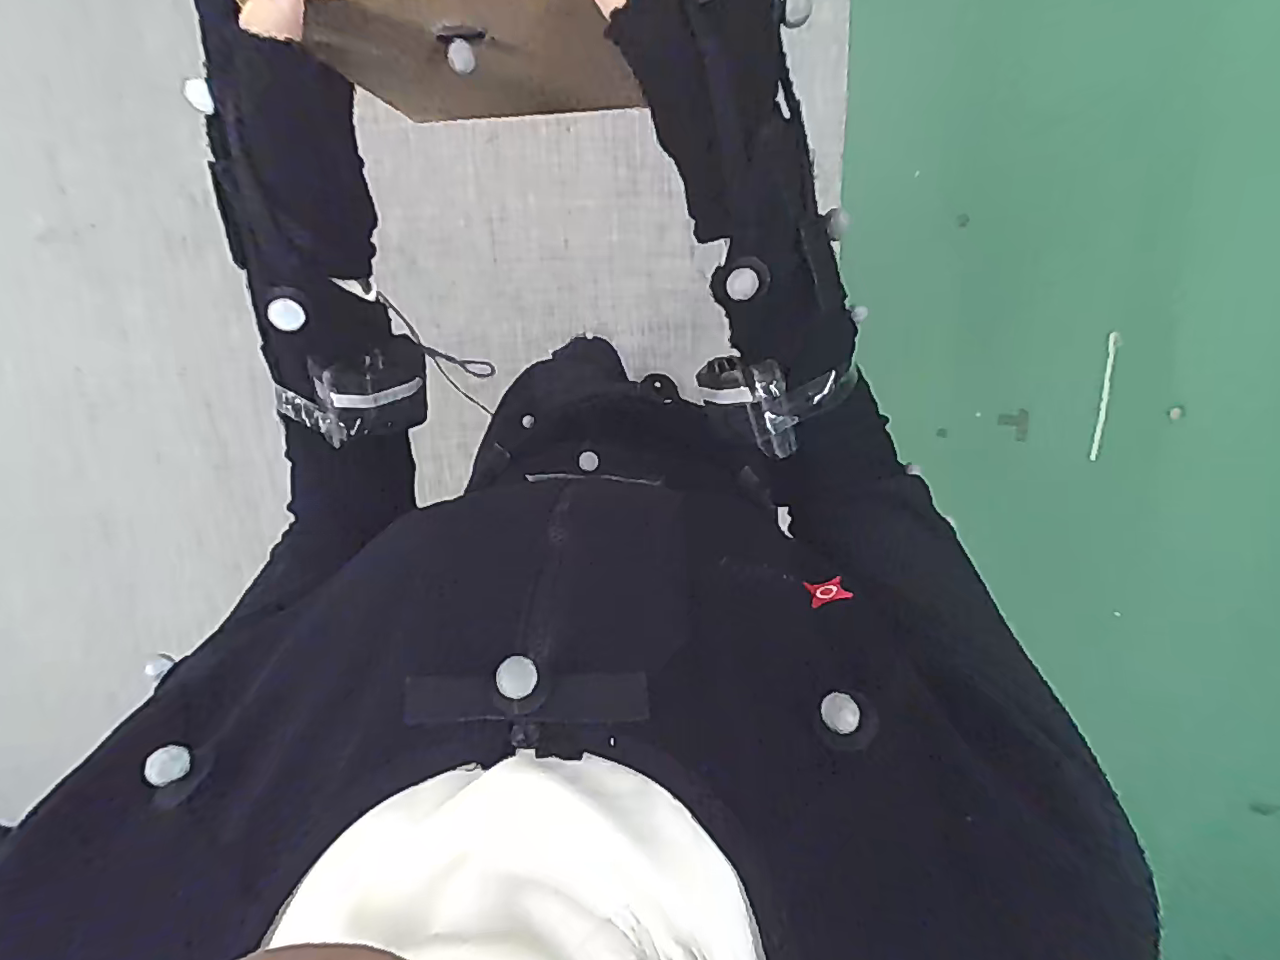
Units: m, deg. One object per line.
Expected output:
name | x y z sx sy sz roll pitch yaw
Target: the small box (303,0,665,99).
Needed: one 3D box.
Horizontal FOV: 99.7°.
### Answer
small box | -0.077 -0.305 0.258 0.179 0.176 0.168 -2 110 2
